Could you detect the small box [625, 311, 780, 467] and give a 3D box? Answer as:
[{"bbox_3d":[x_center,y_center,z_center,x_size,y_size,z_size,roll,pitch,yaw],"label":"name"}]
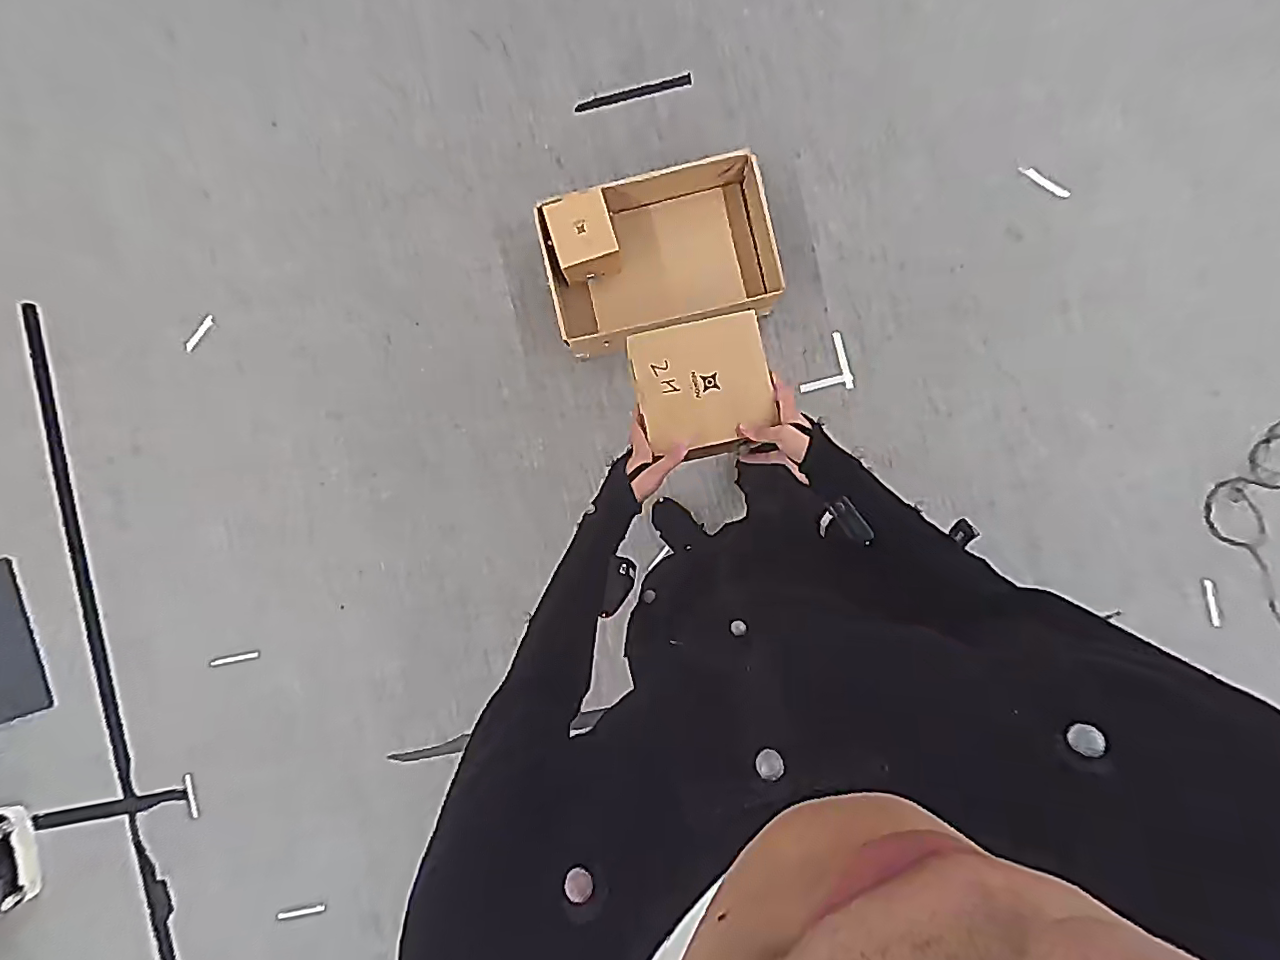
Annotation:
[{"bbox_3d":[0.080,-0.119,0.774,0.179,0.176,0.168,-13,86,0],"label":"small box"}]
